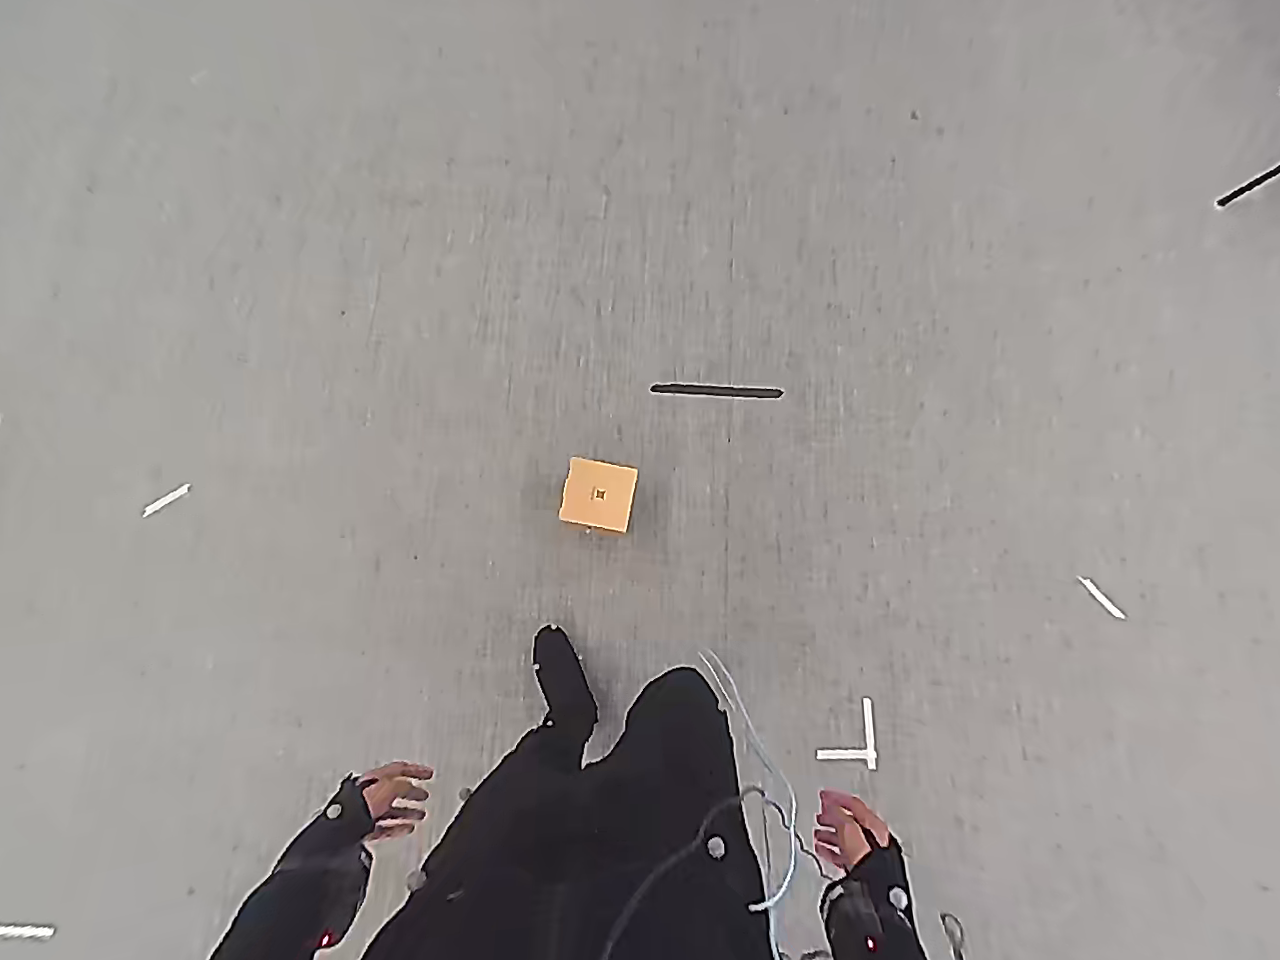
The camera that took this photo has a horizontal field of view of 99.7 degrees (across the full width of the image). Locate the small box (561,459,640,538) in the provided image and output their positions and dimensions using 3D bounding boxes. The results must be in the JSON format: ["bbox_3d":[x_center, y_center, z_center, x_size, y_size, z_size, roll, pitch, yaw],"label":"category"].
[{"bbox_3d":[-0.102,0.056,1.444,0.179,0.176,0.168,11,78,0],"label":"small box"}]
